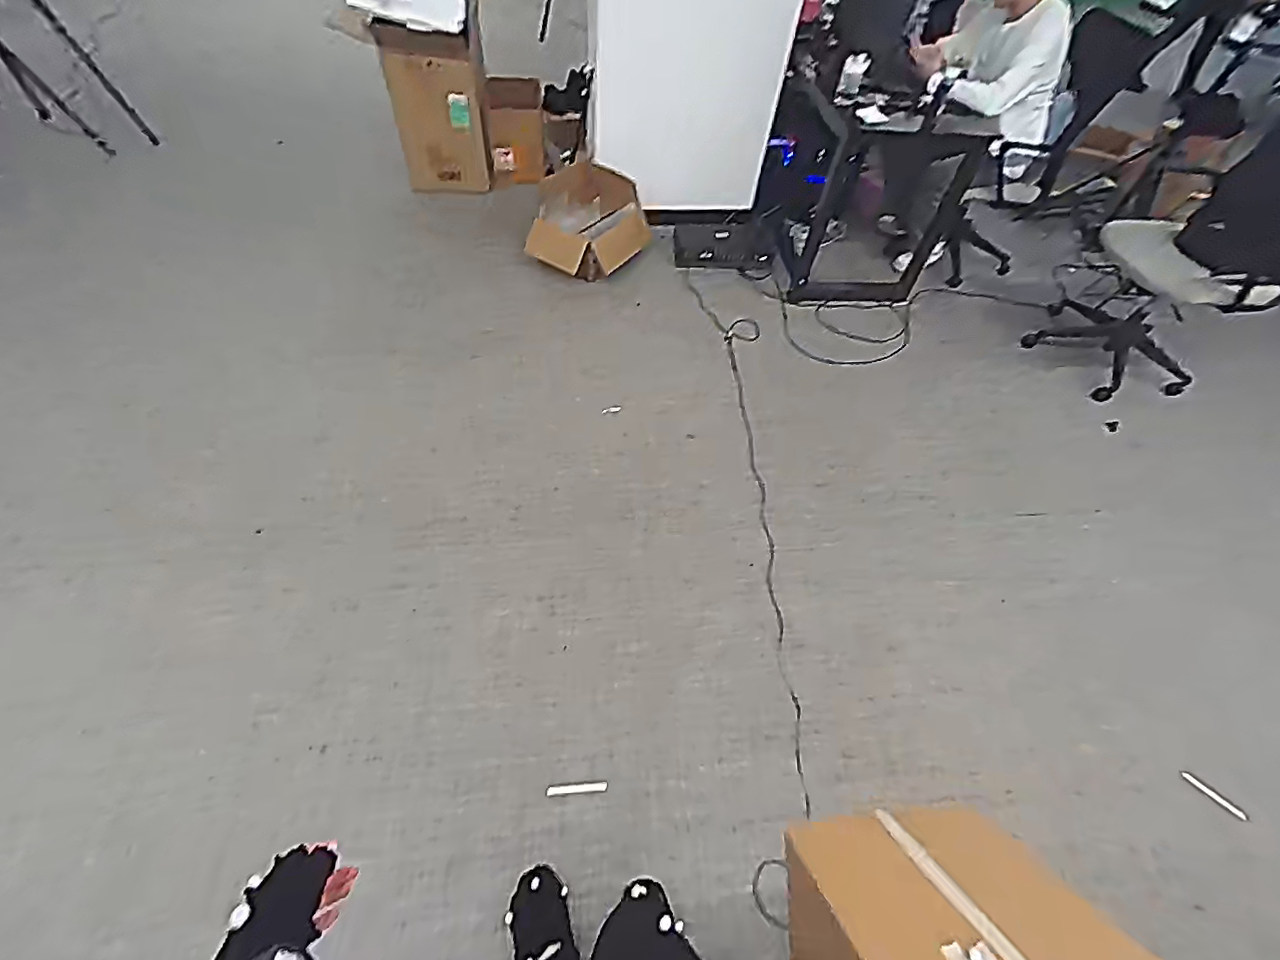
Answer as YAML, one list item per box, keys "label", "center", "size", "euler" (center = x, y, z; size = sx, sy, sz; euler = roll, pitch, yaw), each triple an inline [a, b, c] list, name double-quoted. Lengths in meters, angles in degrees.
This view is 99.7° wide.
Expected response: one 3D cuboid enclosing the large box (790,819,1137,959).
- label: "large box"
  center: [0.403, 0.690, 0.650]
  size: [0.320, 0.408, 0.320]
  euler: [-2, 90, -6]
